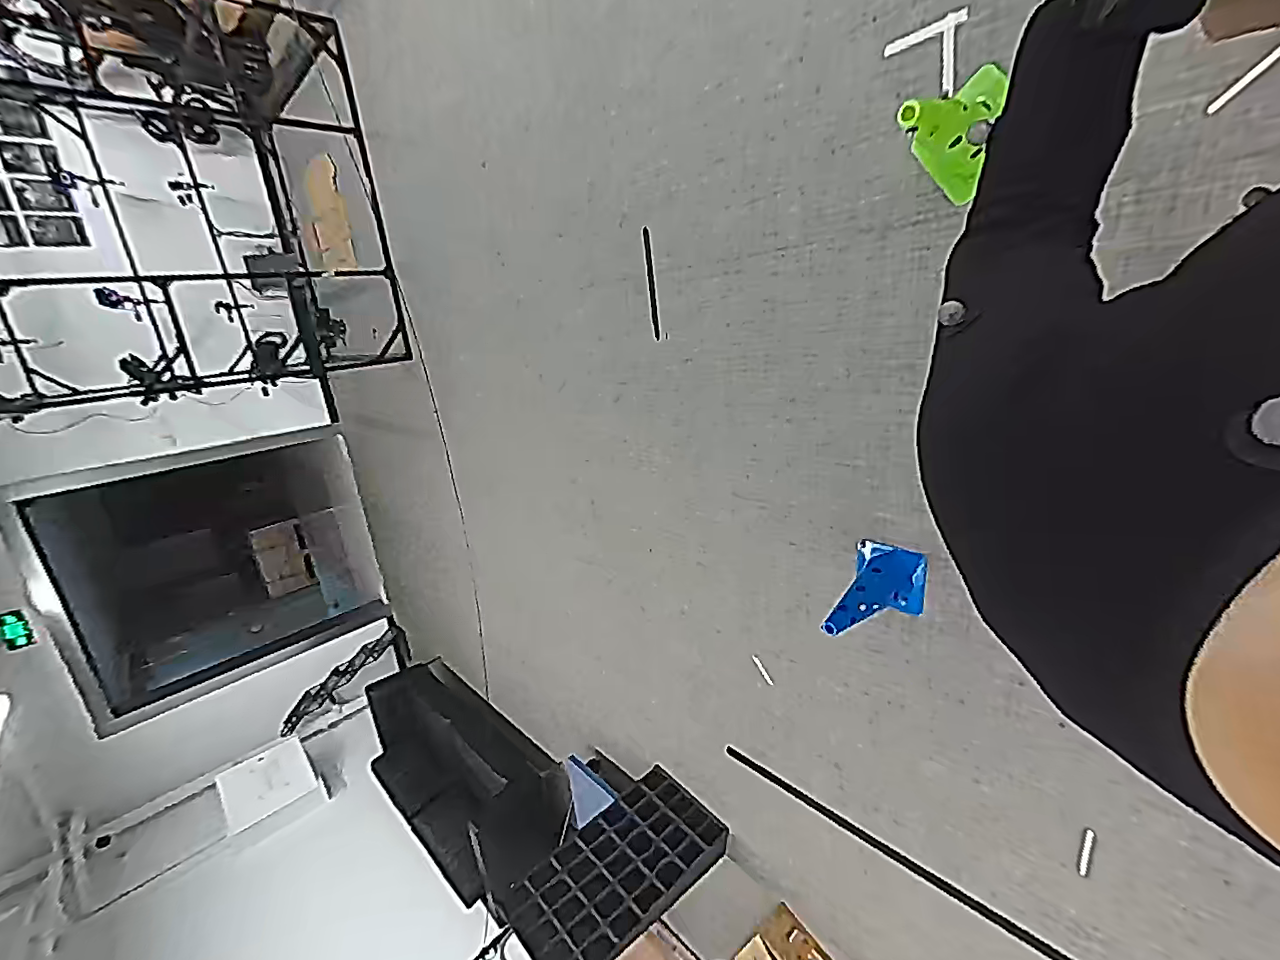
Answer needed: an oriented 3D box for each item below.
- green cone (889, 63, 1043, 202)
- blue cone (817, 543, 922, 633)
[{"bbox_3d":[0.599,-0.704,1.074,0.200,0.368,0.202,60,141,12],"label":"green cone"},{"bbox_3d":[0.623,0.335,1.522,0.192,0.380,0.193,17,118,45],"label":"blue cone"}]
